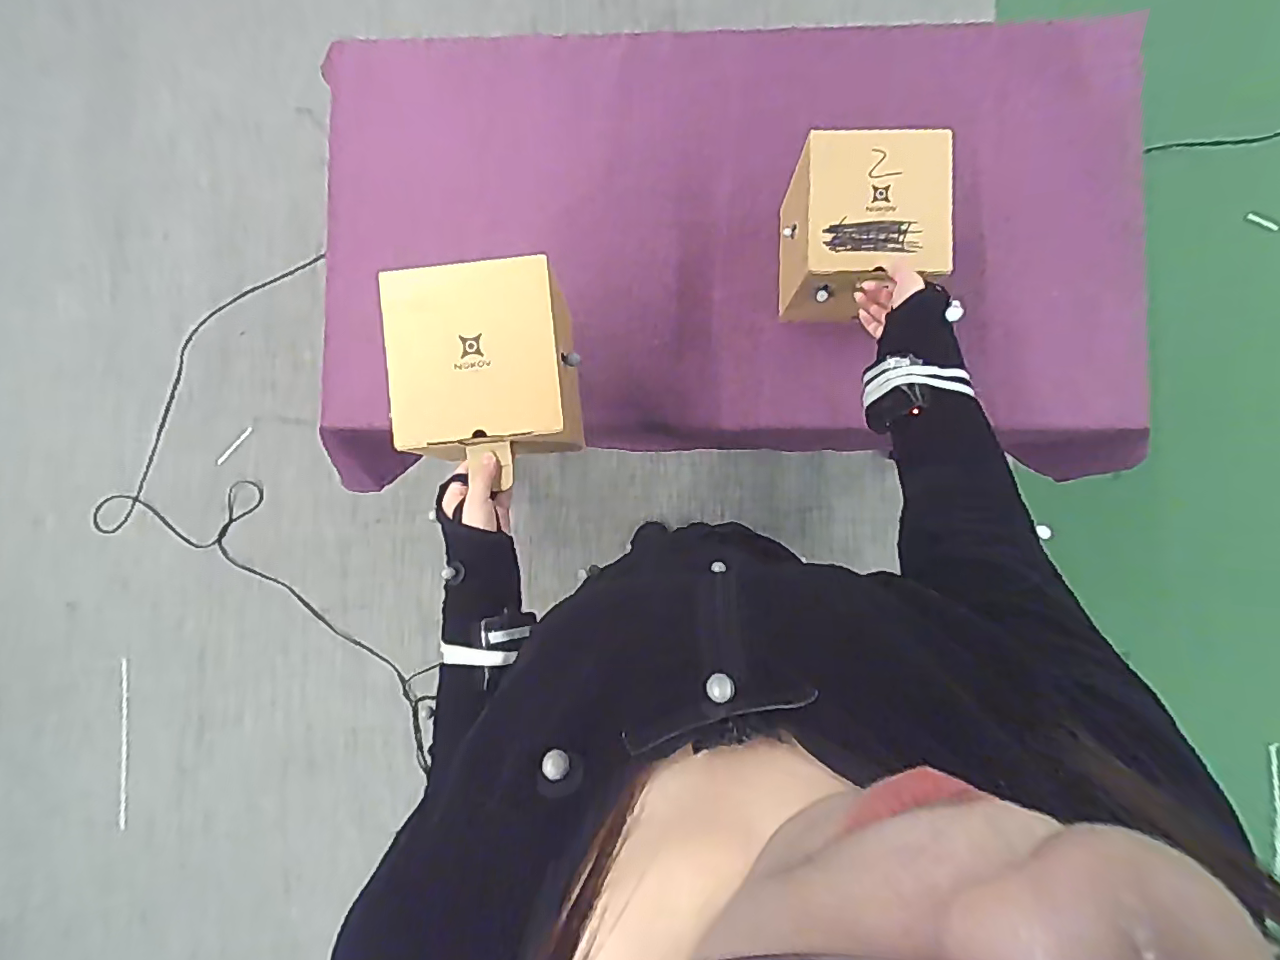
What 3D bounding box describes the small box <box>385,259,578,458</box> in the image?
[{"bbox_3d":[-0.167,-0.125,0.616,0.168,0.176,0.179,-6,88,0],"label":"small box"}]
